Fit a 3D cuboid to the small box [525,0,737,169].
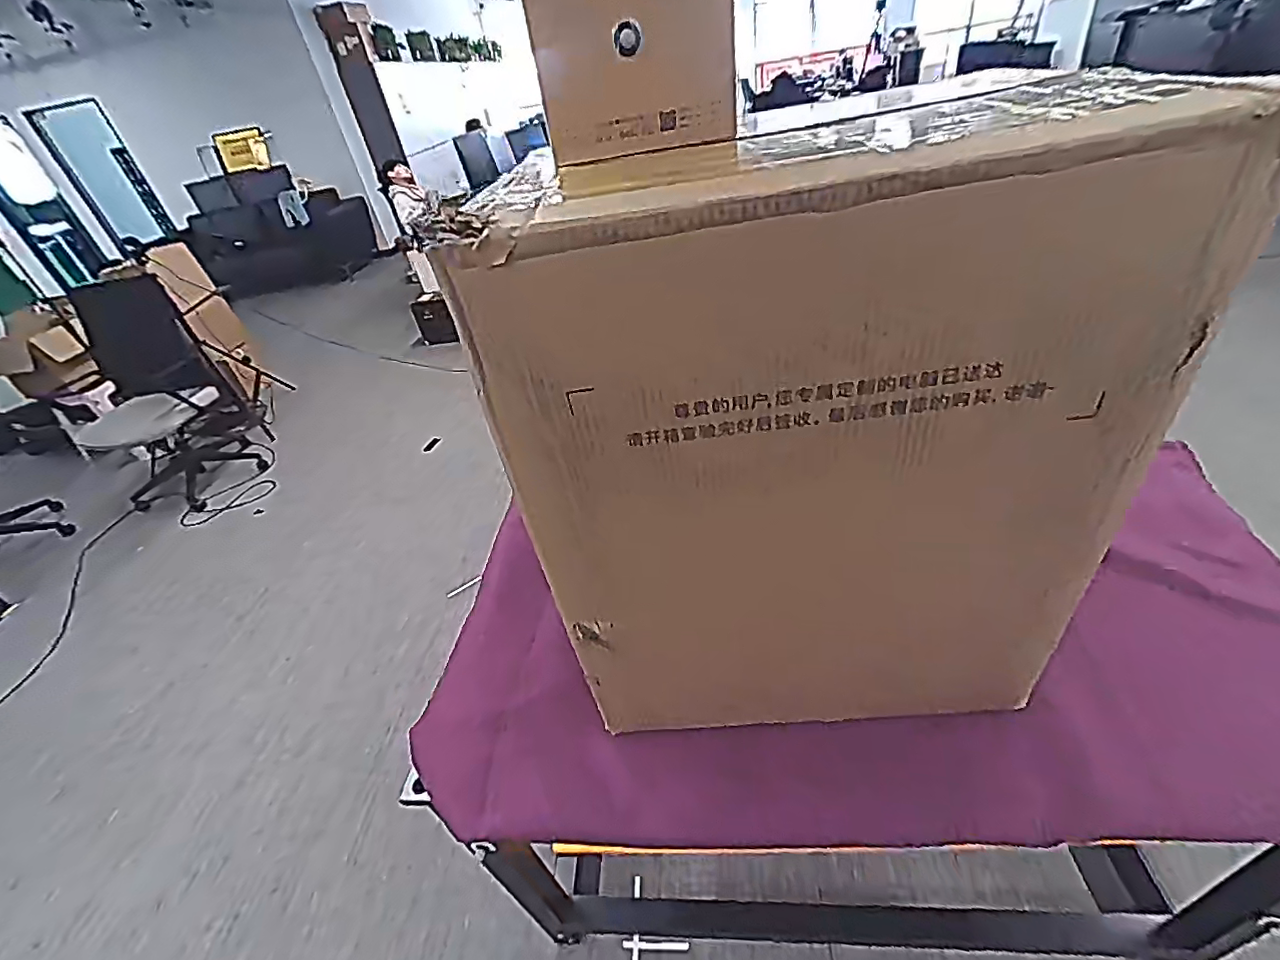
[{"bbox_3d":[-0.008,-0.397,0.497,0.168,0.176,0.179,-8,37,0],"label":"small box"}]
